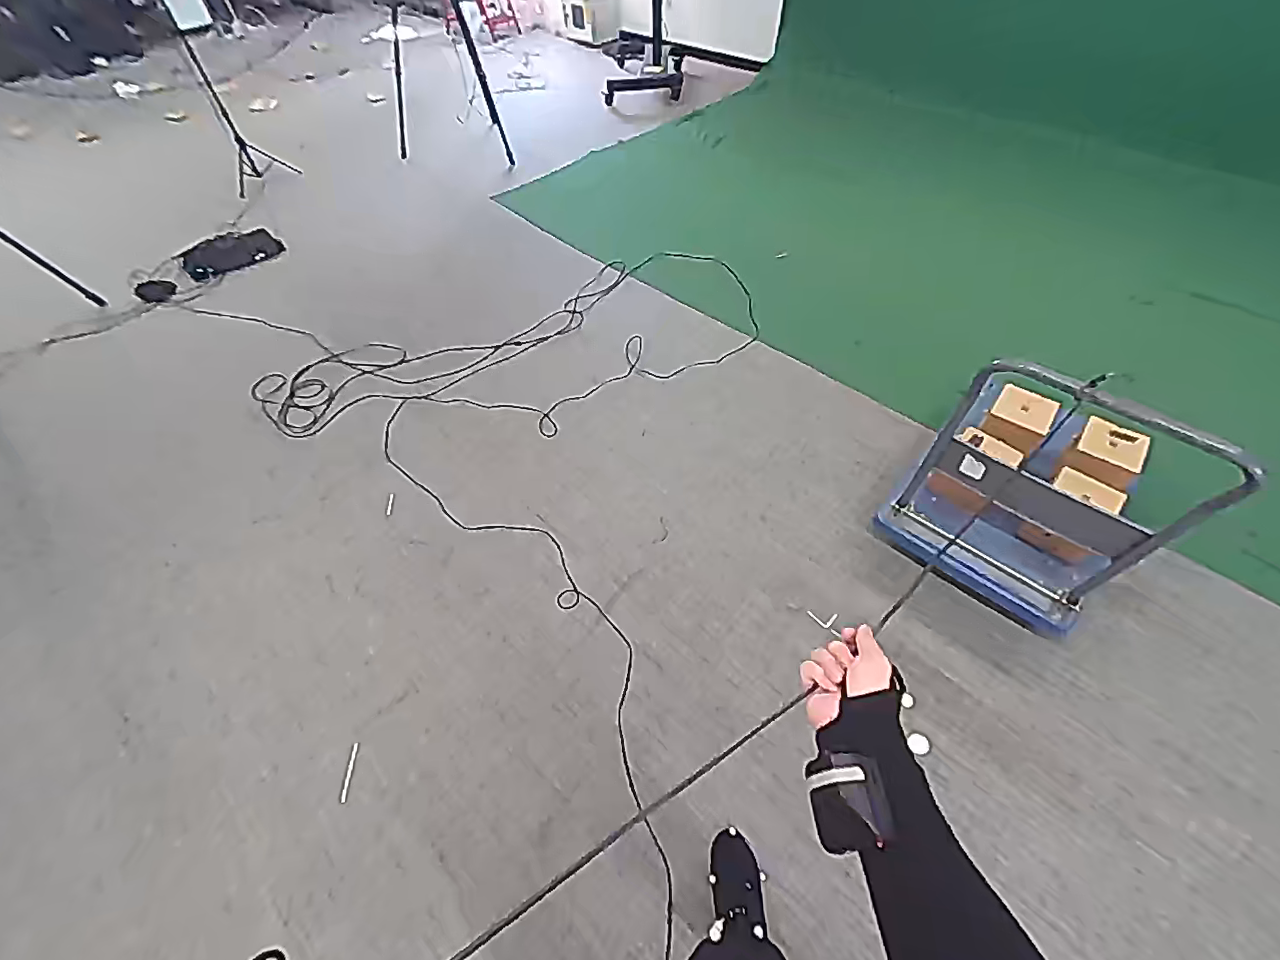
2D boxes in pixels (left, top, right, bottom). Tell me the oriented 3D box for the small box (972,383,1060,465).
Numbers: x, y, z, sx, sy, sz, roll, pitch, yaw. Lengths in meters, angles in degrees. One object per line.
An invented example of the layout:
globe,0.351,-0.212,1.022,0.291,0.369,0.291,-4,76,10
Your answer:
small box,1.233,-0.182,1.786,0.168,0.176,0.179,32,60,23

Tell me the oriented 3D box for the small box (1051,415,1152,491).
small box,1.431,-0.063,1.685,0.168,0.176,0.179,31,61,24

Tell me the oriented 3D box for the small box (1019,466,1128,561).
small box,1.249,0.099,1.568,0.168,0.176,0.179,36,62,26
